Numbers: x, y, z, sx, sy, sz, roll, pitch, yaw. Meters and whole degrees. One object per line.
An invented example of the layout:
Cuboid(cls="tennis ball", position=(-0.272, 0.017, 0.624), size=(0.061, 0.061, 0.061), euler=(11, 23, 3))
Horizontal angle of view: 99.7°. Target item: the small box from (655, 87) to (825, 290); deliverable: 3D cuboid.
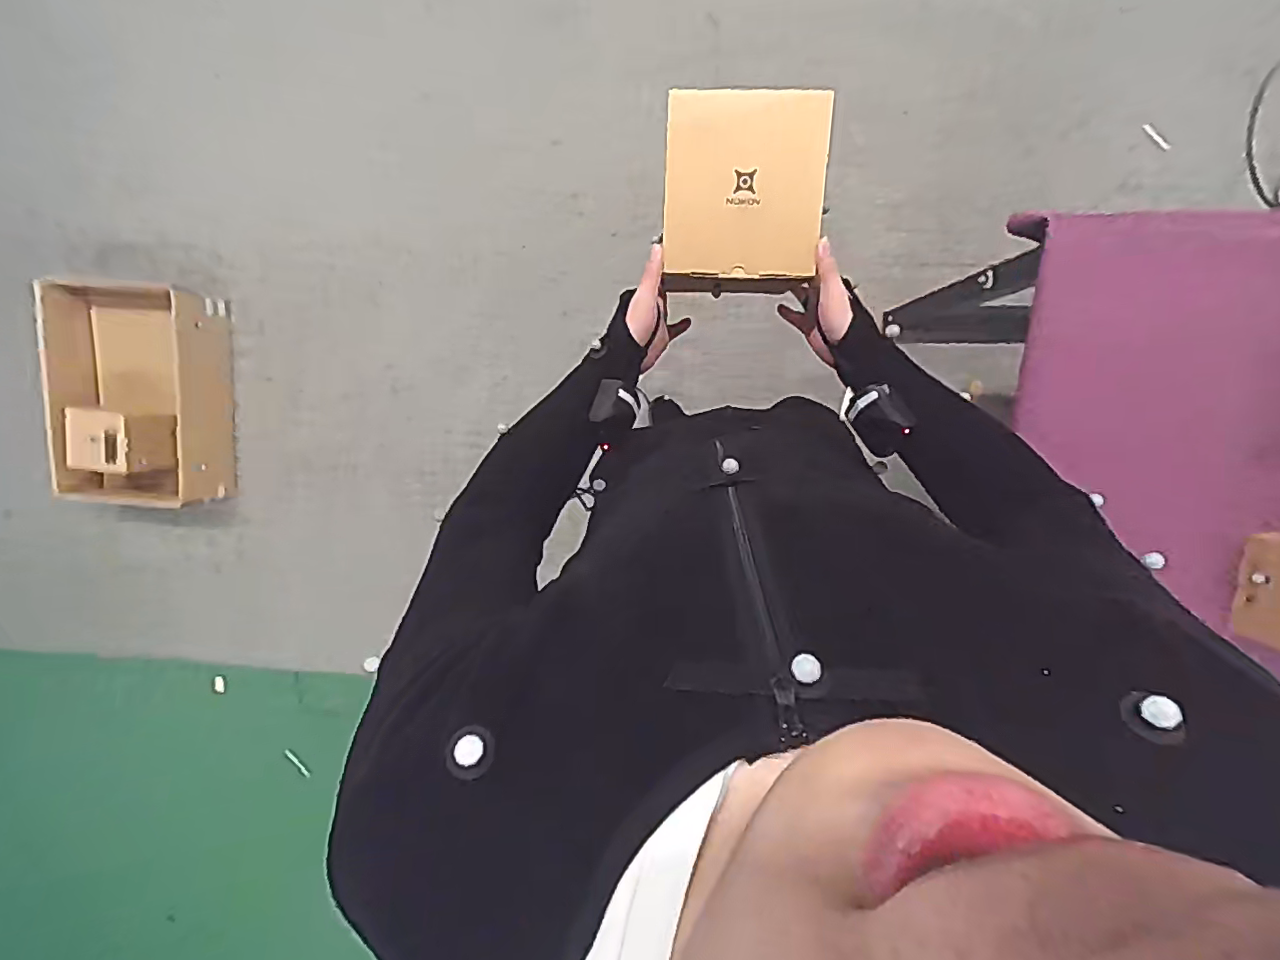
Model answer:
Cuboid(cls="small box", position=(0.102, -0.323, 0.631), size=(0.168, 0.176, 0.179), euler=(1, 105, 2))

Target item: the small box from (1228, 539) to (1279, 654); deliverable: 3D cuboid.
Cuboid(cls="small box", position=(1.042, 0.186, 0.787), size=(0.179, 0.176, 0.168), euler=(3, 97, 4))
